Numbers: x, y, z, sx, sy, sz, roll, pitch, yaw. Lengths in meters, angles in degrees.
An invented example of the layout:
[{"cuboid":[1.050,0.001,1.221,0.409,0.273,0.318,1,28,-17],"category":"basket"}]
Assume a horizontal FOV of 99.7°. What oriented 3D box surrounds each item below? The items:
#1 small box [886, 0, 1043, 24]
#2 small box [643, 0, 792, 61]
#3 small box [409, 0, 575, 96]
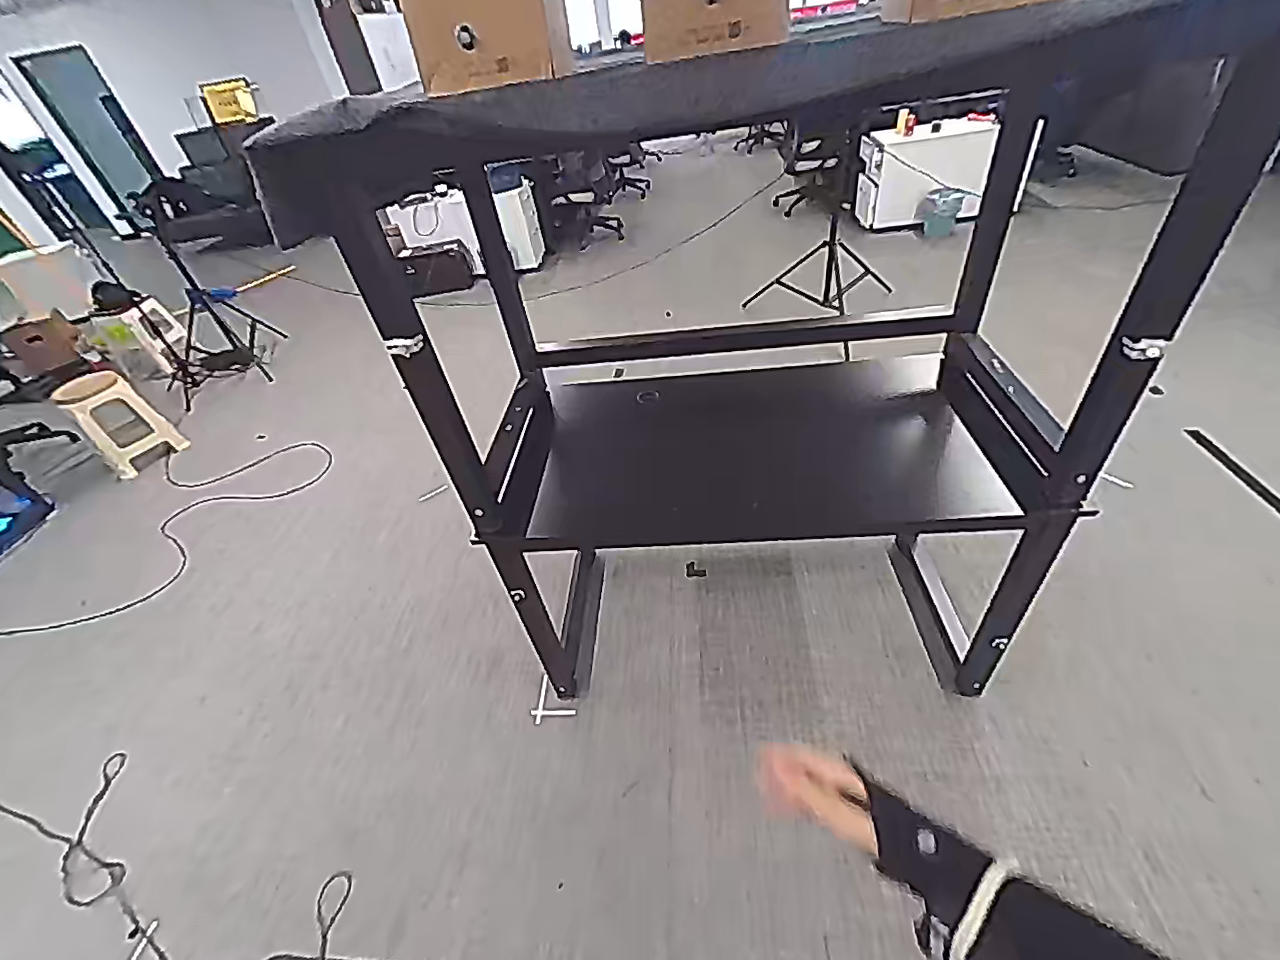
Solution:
[{"cuboid":[0.384,-0.629,0.599,0.168,0.176,0.179,-1,39,11],"category":"small box"},{"cuboid":[0.088,-0.610,0.636,0.168,0.176,0.179,-3,39,9],"category":"small box"},{"cuboid":[-0.182,-0.592,0.673,0.168,0.176,0.179,-3,40,6],"category":"small box"}]
